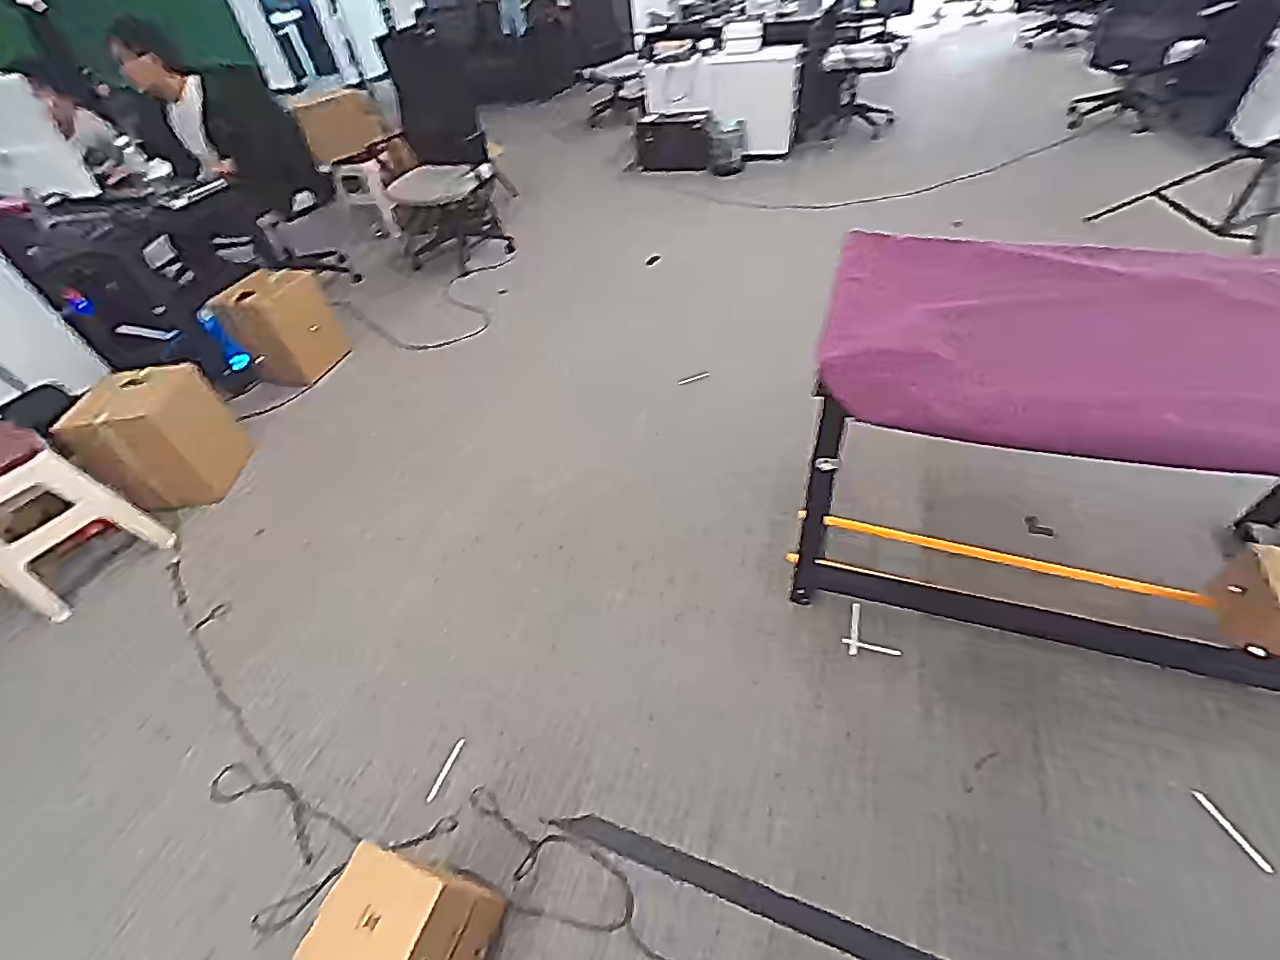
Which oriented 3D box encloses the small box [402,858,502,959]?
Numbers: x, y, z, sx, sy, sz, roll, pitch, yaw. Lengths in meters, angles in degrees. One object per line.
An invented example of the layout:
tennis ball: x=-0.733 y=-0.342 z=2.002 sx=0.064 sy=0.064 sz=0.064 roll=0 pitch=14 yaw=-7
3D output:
small box: x=-0.388 y=0.838 z=0.999 sx=0.179 sy=0.176 sz=0.168 roll=12 pitch=52 yaw=18

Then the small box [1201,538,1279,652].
small box: x=1.361 y=0.254 z=1.145 sx=0.168 sy=0.176 sz=0.179 roll=10 pitch=48 yaw=18

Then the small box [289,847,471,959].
small box: x=-0.408 y=0.731 z=0.879 sx=0.179 sy=0.176 sz=0.168 roll=11 pitch=51 yaw=19
